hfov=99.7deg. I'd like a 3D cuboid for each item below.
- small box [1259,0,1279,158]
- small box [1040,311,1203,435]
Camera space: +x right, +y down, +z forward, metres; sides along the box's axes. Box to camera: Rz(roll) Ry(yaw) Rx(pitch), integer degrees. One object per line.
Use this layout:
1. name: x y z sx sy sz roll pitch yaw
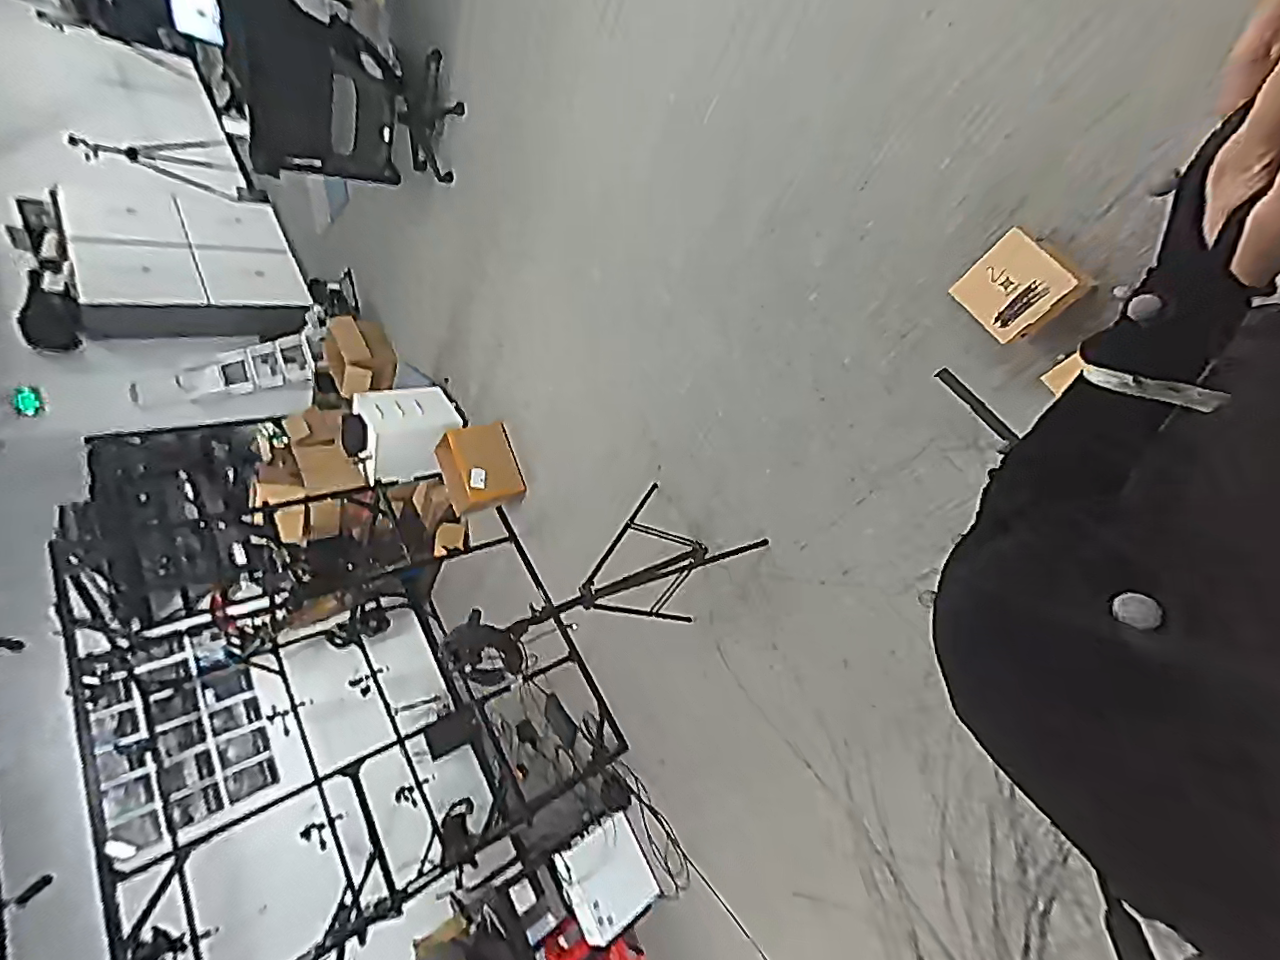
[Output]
1. small box: 0.384 -0.243 0.209 0.168 0.176 0.179 -5 103 40
2. small box: 0.960 -0.214 1.078 0.168 0.176 0.179 58 137 18
